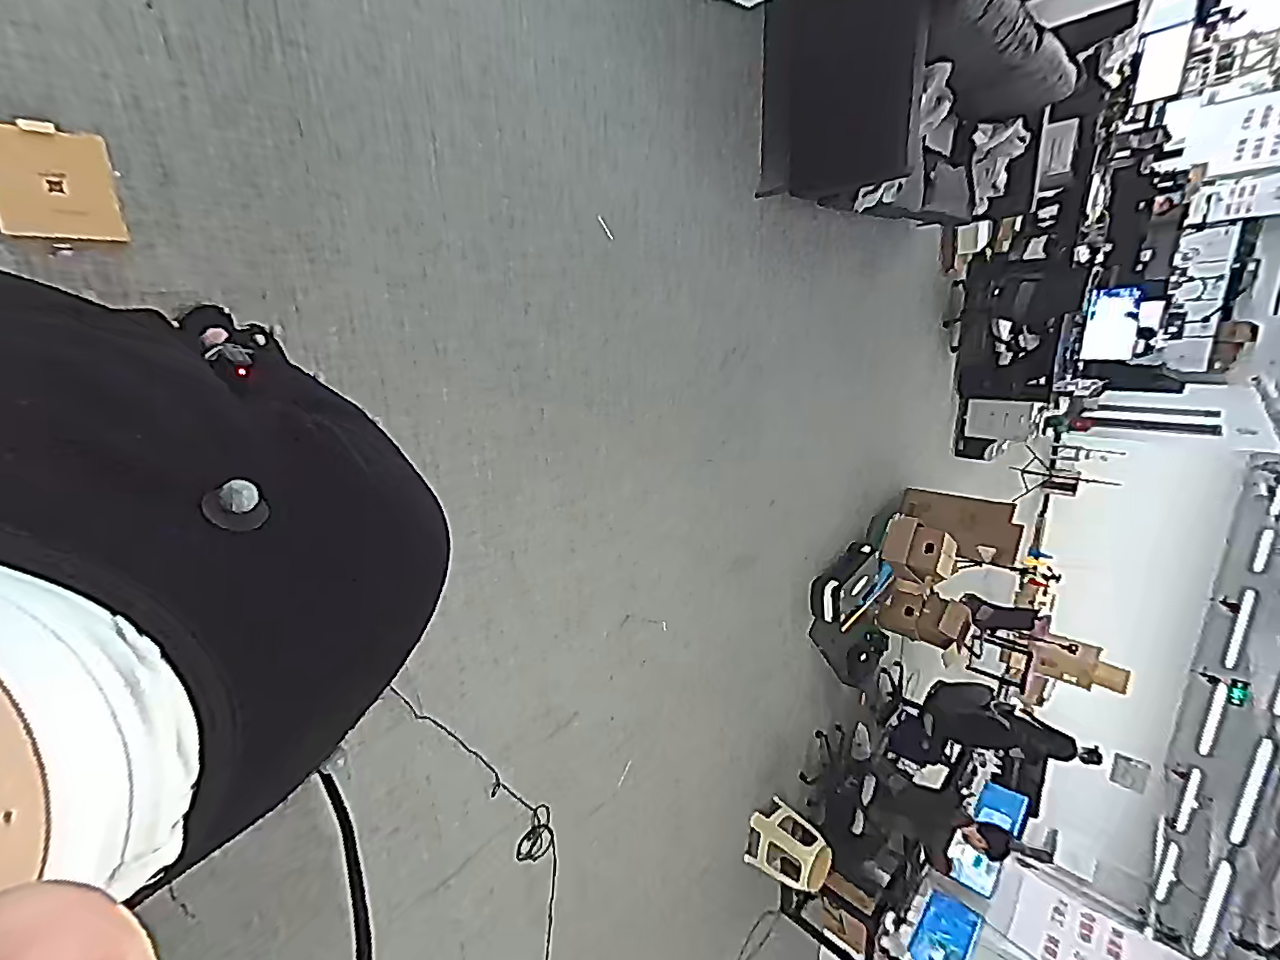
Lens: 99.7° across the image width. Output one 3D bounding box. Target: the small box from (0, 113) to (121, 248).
[{"bbox_3d":[-1.066,-0.528,0.969,0.168,0.176,0.179,-14,110,-42],"label":"small box"}]
